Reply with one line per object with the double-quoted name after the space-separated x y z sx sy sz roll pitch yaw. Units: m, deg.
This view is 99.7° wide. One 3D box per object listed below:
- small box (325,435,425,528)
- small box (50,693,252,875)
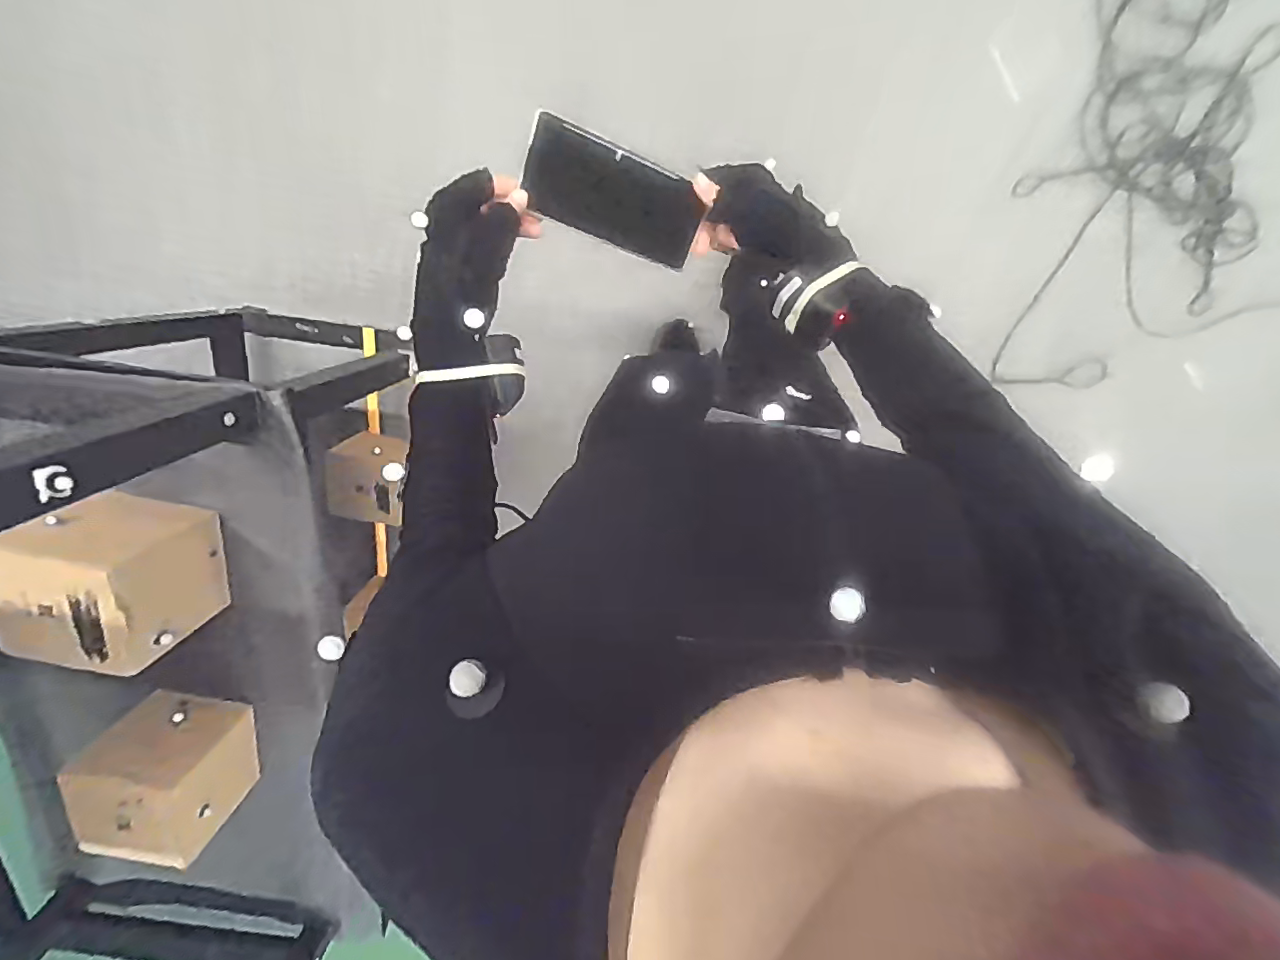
-0.651 -0.003 1.344 0.179 0.176 0.168 11 111 -2 "small box"
-0.760 0.479 0.865 0.168 0.176 0.179 11 111 -2 "small box"
